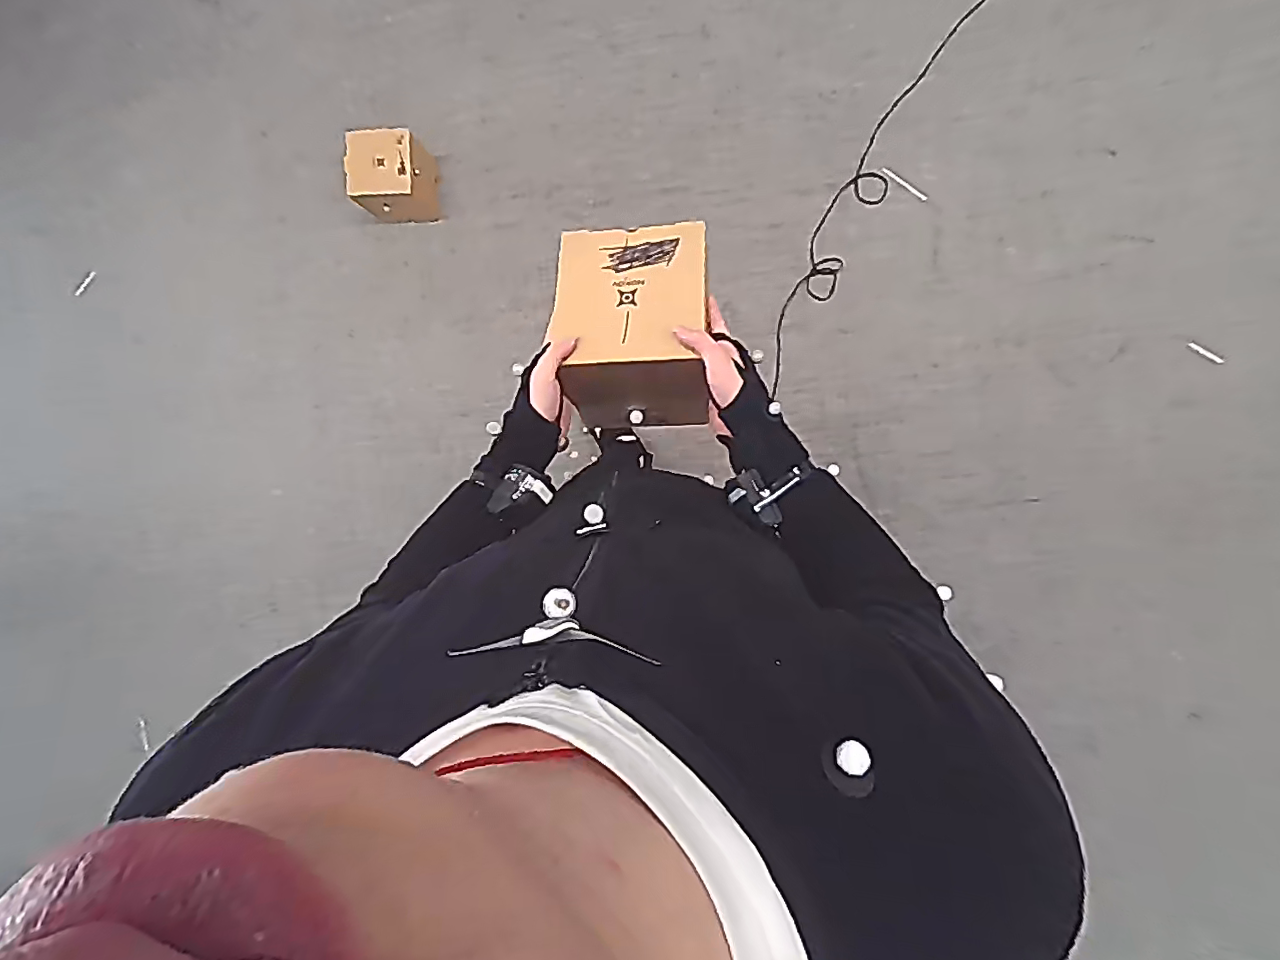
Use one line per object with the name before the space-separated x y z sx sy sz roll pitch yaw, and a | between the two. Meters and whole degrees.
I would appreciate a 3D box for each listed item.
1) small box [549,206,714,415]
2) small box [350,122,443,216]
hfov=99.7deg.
small box | 0.002 -0.193 0.652 0.168 0.176 0.179 0 72 10
small box | -0.658 -0.837 1.471 0.179 0.176 0.168 0 93 6
